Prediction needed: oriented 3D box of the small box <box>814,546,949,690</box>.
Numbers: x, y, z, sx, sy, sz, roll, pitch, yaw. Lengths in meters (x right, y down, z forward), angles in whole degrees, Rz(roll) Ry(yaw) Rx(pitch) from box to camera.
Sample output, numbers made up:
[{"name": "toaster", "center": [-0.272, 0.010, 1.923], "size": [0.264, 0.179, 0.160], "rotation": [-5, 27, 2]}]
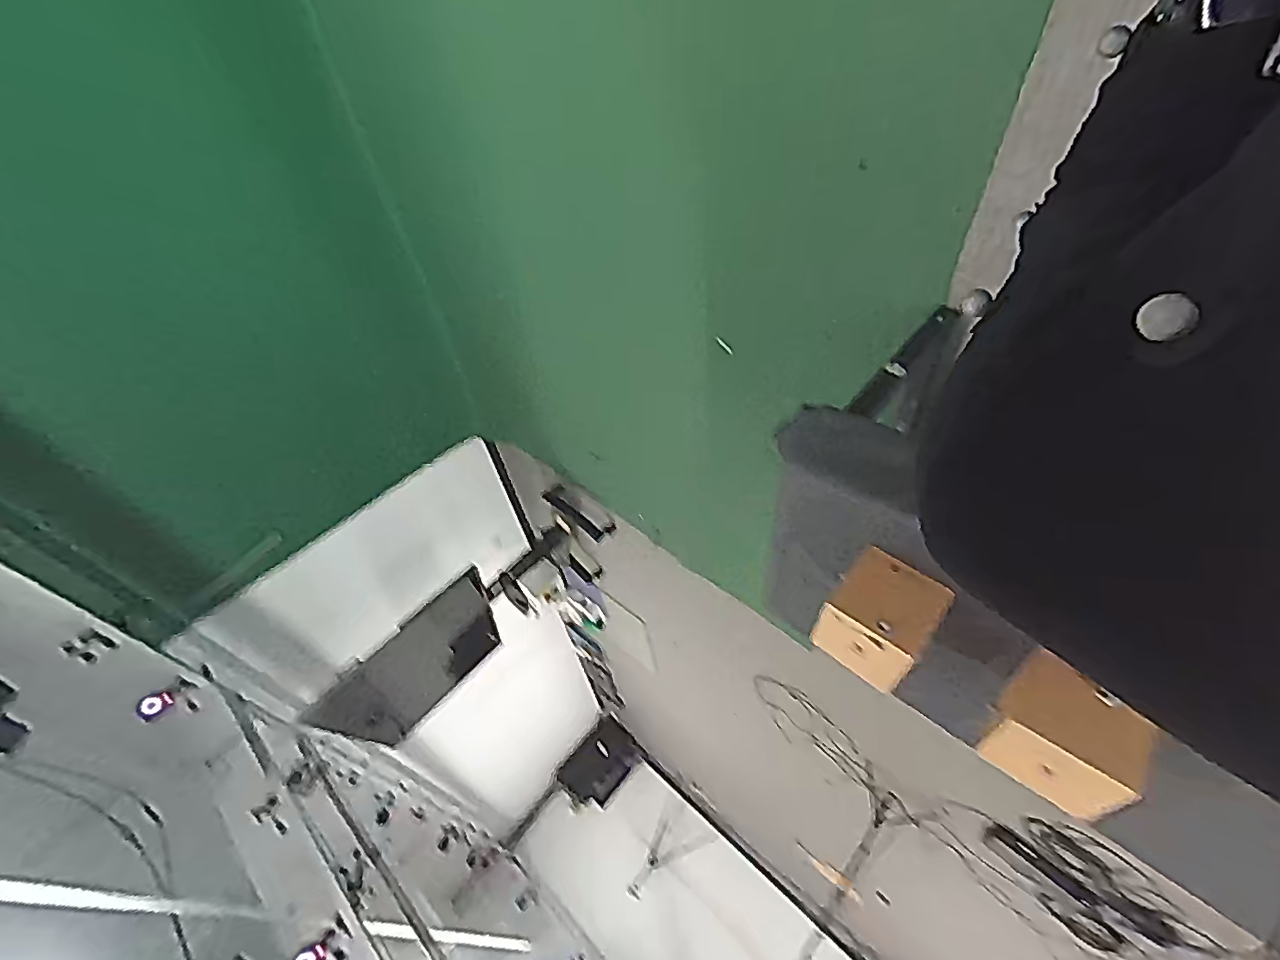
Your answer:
[{"name": "small box", "center": [0.465, 0.264, 1.050], "size": [0.168, 0.176, 0.179], "rotation": [32, 150, 28]}]

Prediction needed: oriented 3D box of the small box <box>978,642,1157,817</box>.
[{"name": "small box", "center": [0.699, 0.406, 0.891], "size": [0.168, 0.176, 0.179], "rotation": [28, 147, 32]}]
